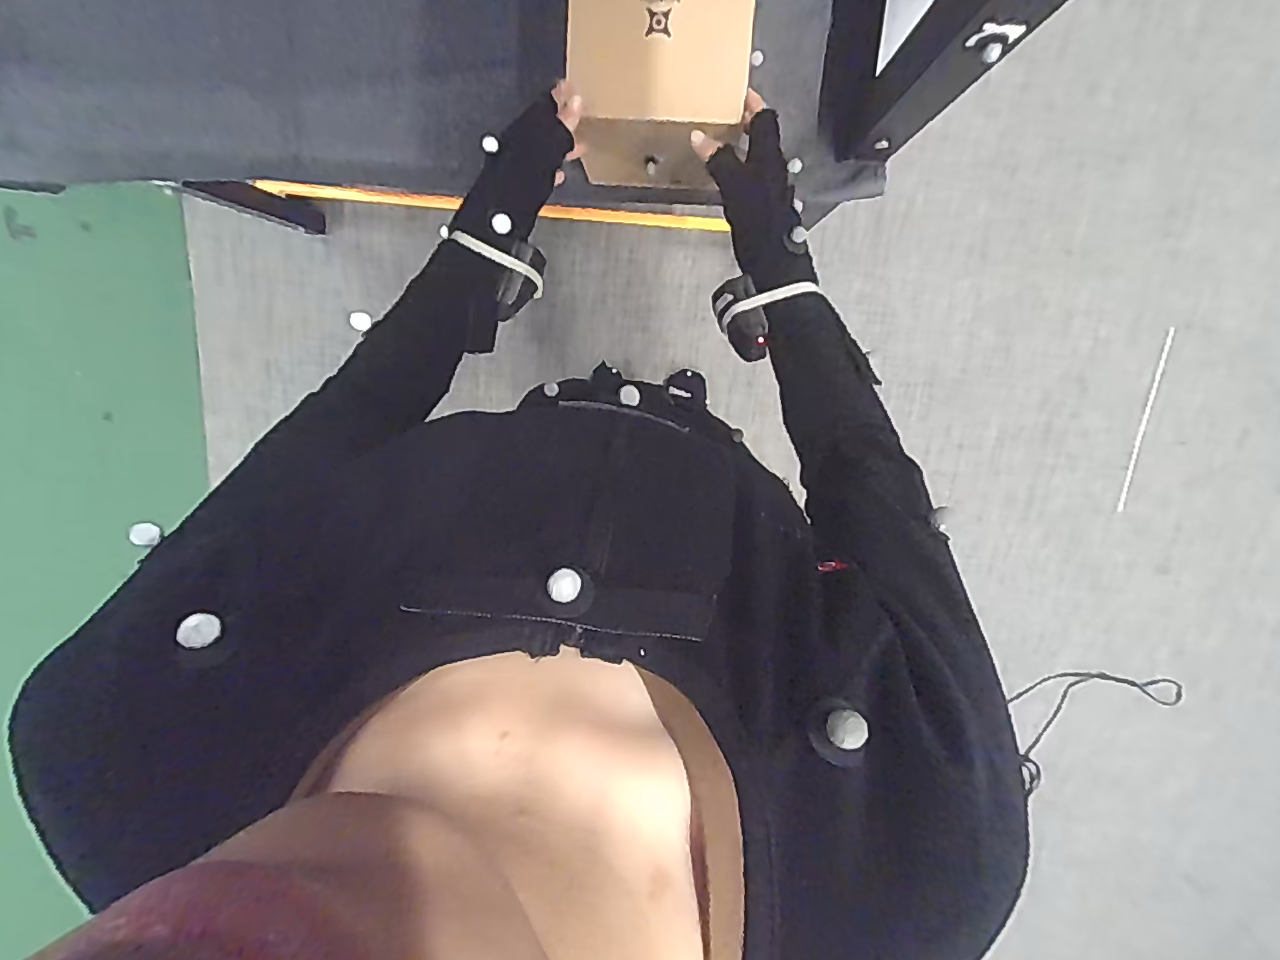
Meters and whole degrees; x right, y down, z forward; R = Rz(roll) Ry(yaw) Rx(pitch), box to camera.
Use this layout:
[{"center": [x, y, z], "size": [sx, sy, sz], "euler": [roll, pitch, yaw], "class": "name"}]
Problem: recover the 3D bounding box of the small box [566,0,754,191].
[{"center": [0.023, -0.422, 0.560], "size": [0.168, 0.176, 0.179], "euler": [4, 99, 2], "class": "small box"}]
